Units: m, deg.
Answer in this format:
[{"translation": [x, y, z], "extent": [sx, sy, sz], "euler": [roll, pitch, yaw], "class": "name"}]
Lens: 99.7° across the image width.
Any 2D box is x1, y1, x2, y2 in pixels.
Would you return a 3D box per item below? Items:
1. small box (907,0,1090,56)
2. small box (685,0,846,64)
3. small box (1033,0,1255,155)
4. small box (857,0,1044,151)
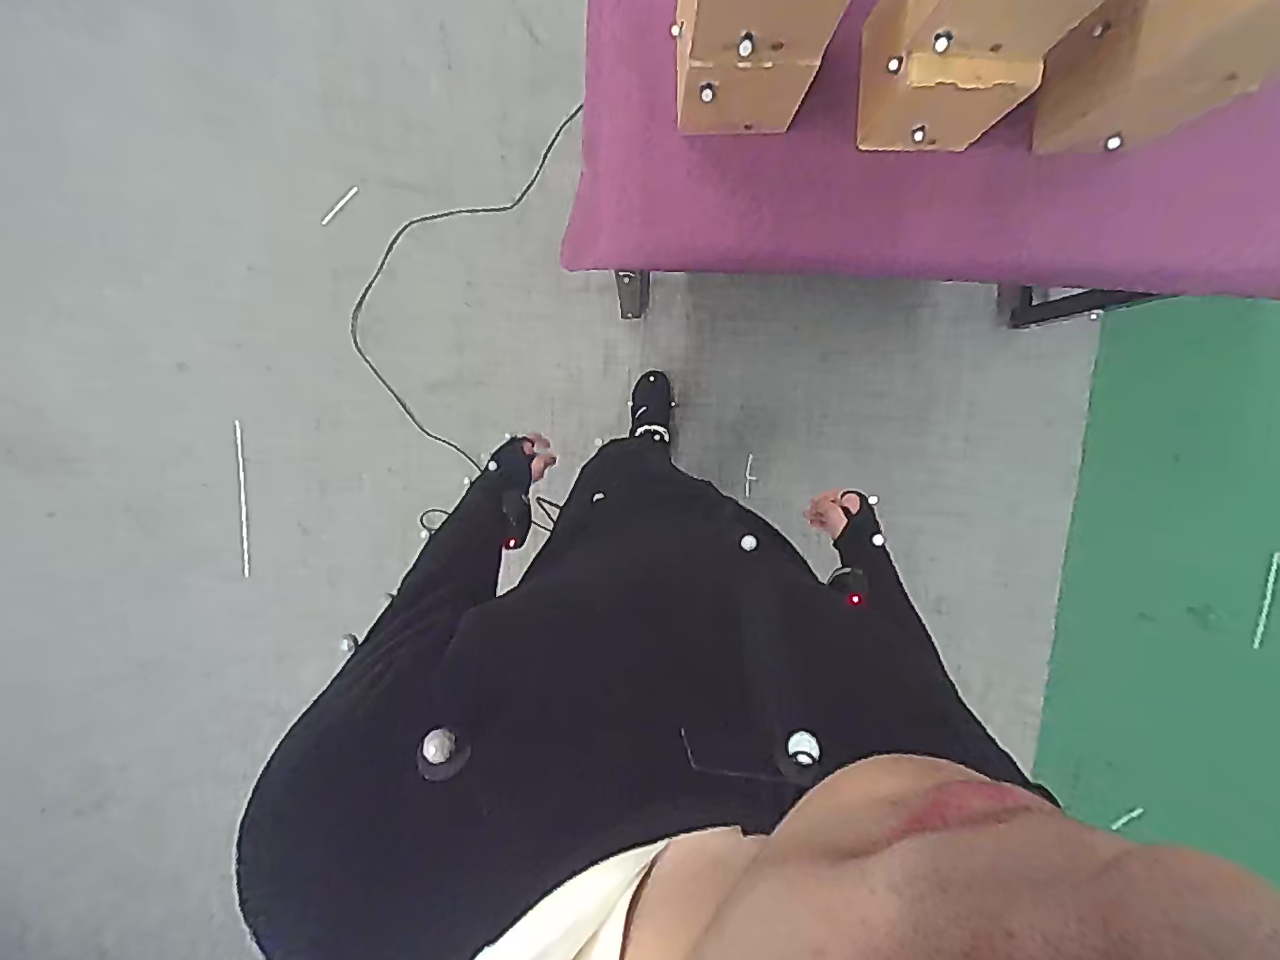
[{"translation": [0.408, -0.594, 0.570], "extent": [0.168, 0.176, 0.179], "euler": [4, 97, -1], "class": "small box"}, {"translation": [0.135, -0.585, 0.567], "extent": [0.168, 0.176, 0.179], "euler": [-1, 97, 0], "class": "small box"}, {"translation": [0.677, -0.577, 0.737], "extent": [0.168, 0.176, 0.179], "euler": [-1, 97, 0], "class": "small box"}, {"translation": [0.412, -0.583, 0.737], "extent": [0.168, 0.176, 0.179], "euler": [0, 98, -1], "class": "small box"}]
